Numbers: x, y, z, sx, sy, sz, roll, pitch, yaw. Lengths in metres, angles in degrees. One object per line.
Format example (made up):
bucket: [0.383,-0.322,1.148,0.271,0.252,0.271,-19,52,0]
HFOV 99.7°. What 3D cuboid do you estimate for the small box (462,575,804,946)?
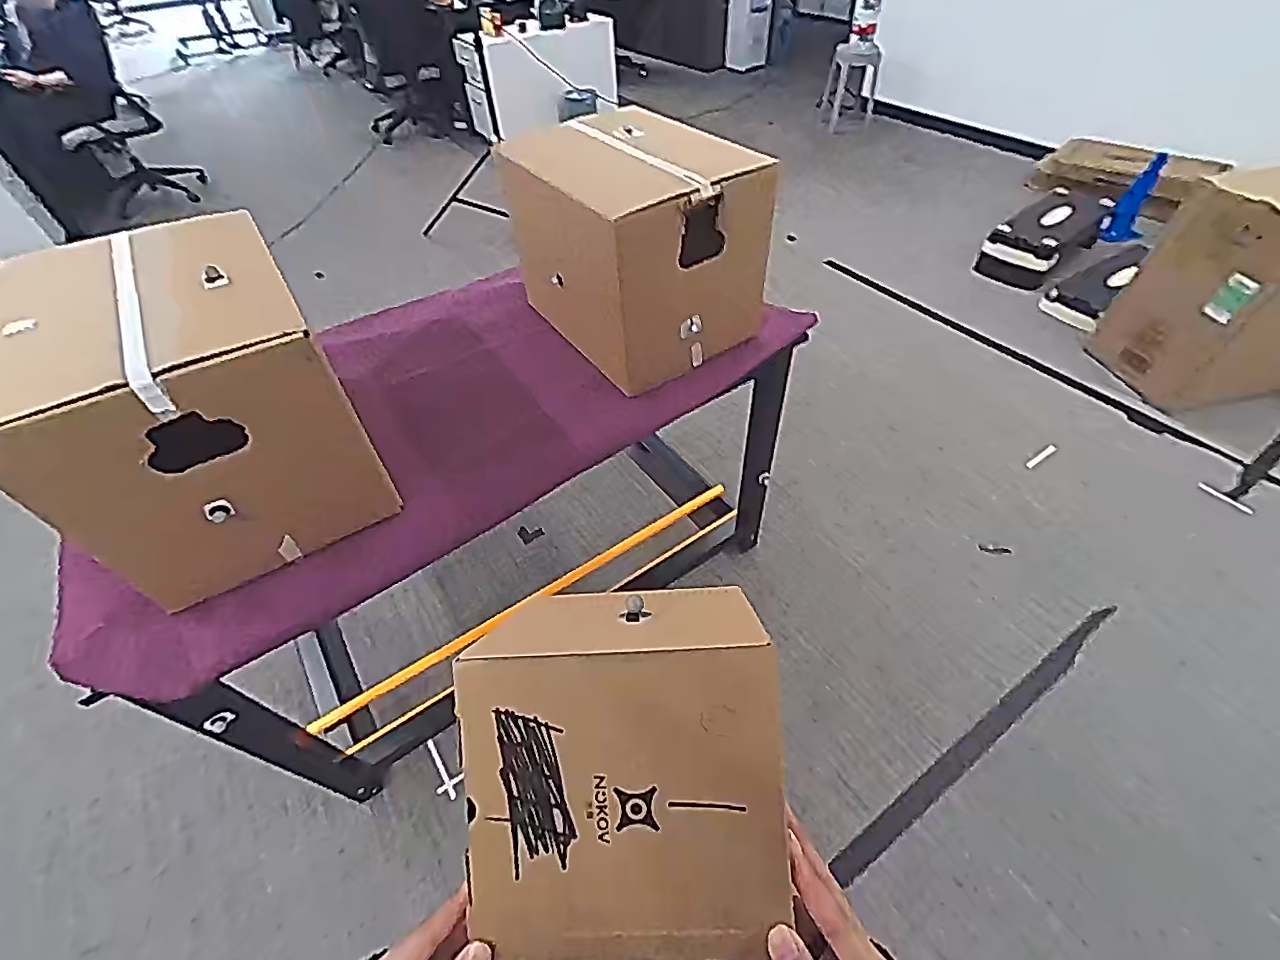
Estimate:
small box: [-0.001,0.163,0.366,0.179,0.176,0.168,-5,89,3]

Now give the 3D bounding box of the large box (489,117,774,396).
large box: [-0.017,-0.421,0.998,0.320,0.320,0.408,-29,52,-21]
